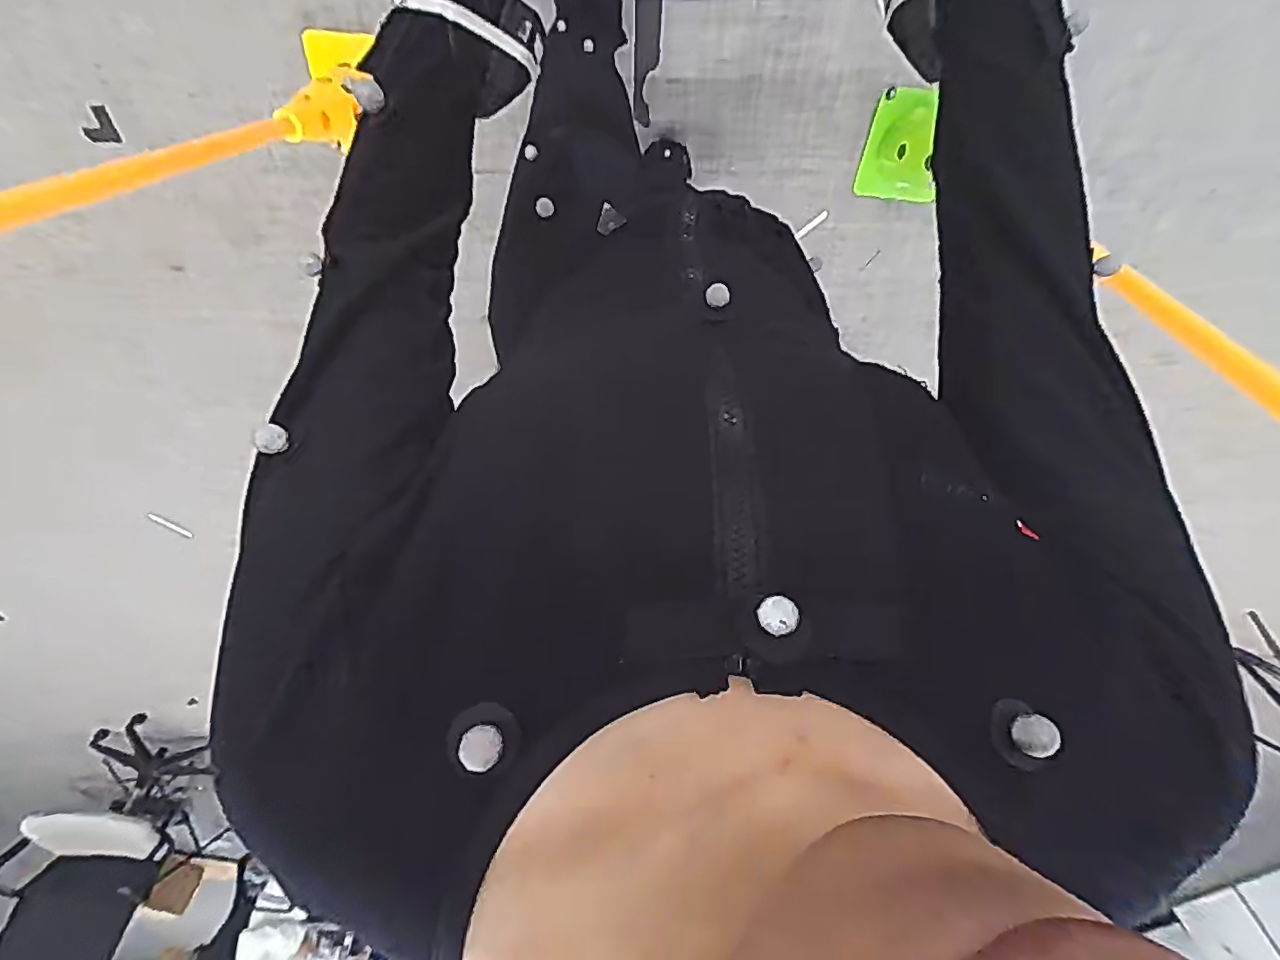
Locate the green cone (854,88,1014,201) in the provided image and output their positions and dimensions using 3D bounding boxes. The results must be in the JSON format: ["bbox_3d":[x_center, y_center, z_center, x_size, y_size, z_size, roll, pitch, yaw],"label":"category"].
[{"bbox_3d":[0.587,-0.602,1.031,0.202,0.368,0.200,2,131,-5],"label":"green cone"}]
